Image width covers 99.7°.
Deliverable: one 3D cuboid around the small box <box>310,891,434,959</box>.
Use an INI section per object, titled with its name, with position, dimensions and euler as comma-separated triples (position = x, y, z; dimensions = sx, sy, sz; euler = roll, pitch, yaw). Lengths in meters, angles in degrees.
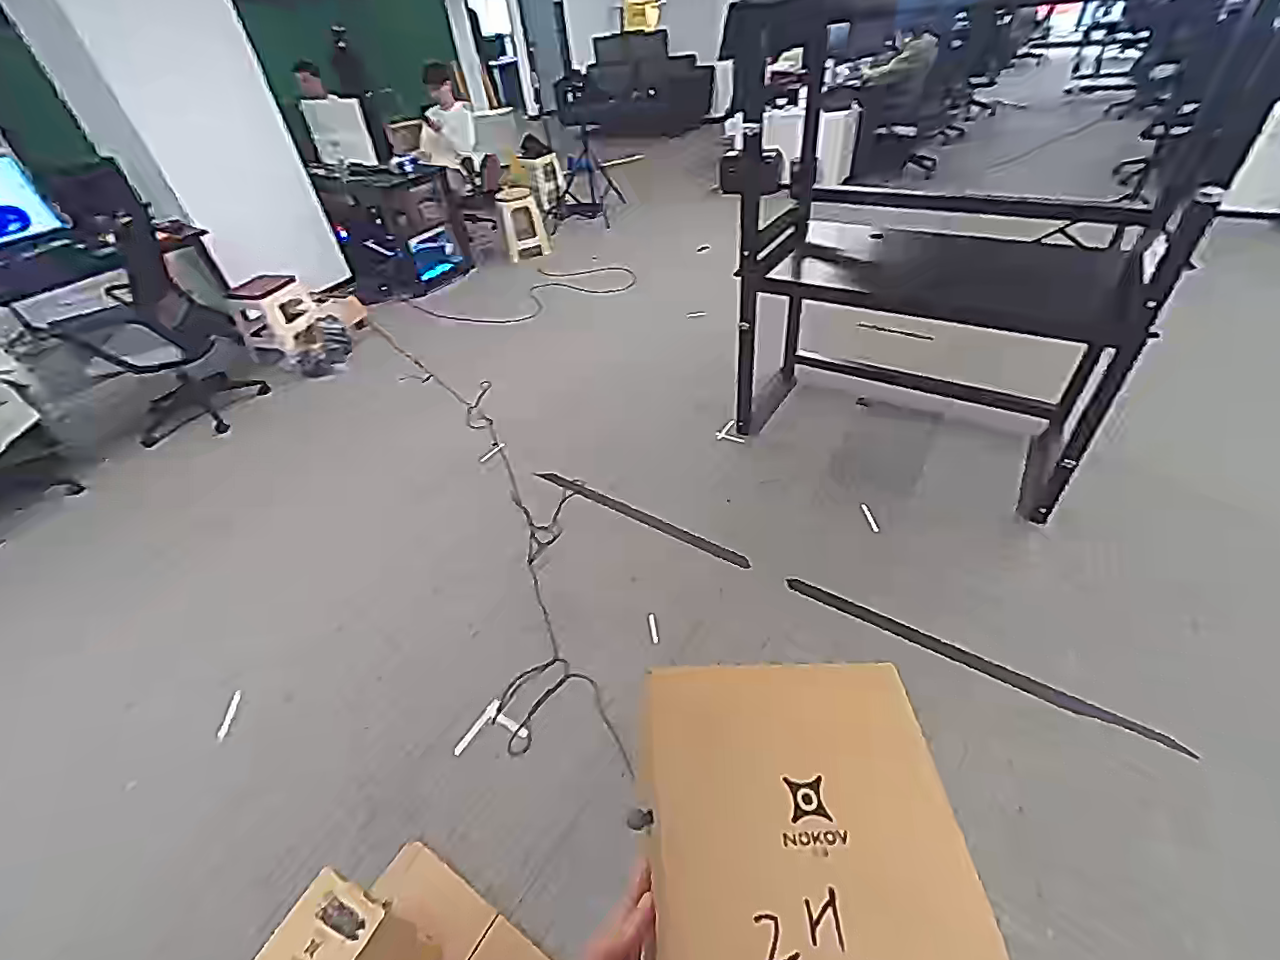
[small box]
position = -0.543, 0.987, 1.091
dimensions = 0.168, 0.176, 0.179
euler = 16, 47, 24
